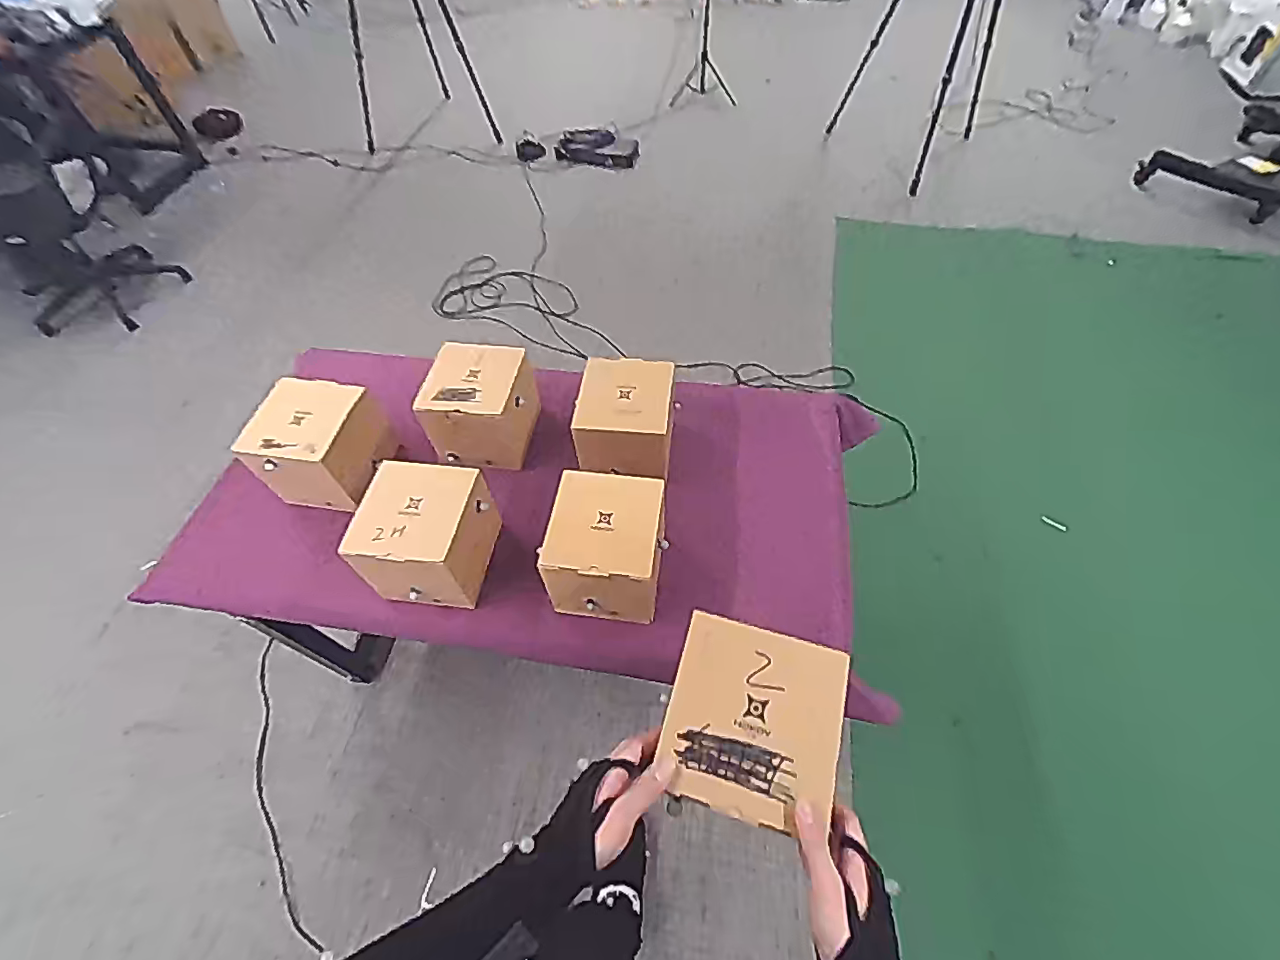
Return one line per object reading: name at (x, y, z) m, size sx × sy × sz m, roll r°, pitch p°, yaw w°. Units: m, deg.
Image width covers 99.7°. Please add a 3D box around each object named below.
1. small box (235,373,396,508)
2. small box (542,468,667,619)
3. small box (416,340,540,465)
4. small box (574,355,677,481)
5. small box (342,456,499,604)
small box at (-0.584, -0.072, 1.007) m, size 0.168 × 0.176 × 0.179 m, roll 7°, pitch 56°, yaw 8°
small box at (-0.049, 0.105, 0.880) m, size 0.168 × 0.176 × 0.179 m, roll 6°, pitch 56°, yaw 5°
small box at (-0.302, -0.147, 1.056) m, size 0.168 × 0.176 × 0.179 m, roll 6°, pitch 56°, yaw 5°
small box at (-0.021, -0.111, 1.028) m, size 0.168 × 0.176 × 0.179 m, roll 5°, pitch 57°, yaw 6°
small box at (-0.345, 0.085, 0.896) m, size 0.168 × 0.176 × 0.179 m, roll 6°, pitch 55°, yaw 6°
